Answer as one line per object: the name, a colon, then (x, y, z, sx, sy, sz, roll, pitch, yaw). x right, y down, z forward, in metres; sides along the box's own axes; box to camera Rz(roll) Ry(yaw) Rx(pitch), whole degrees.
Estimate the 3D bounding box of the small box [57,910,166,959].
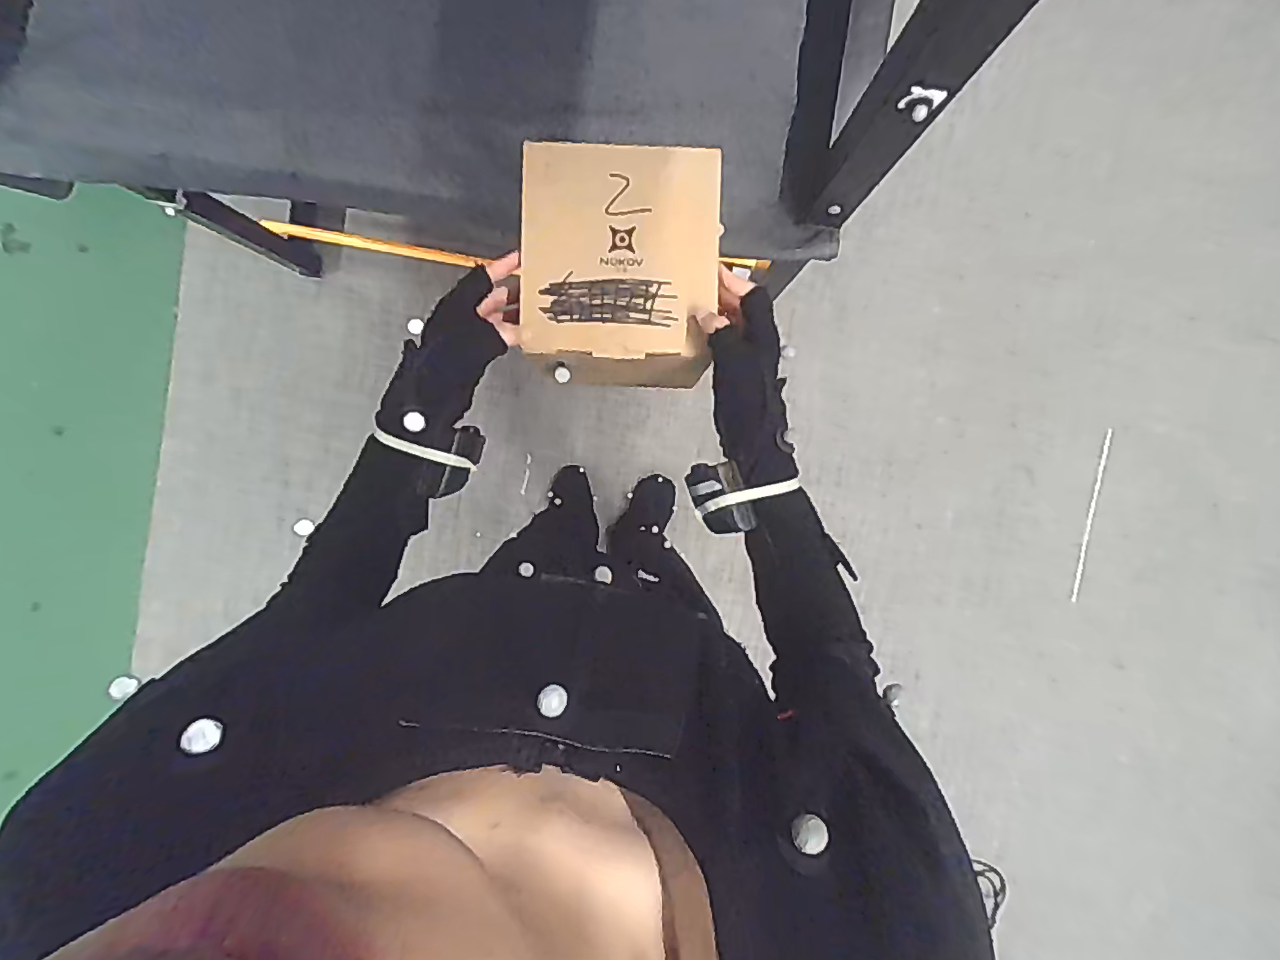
small box: (-1.449, 1.337, 1.474, 0.168, 0.176, 0.179, 11, 93, -1)
